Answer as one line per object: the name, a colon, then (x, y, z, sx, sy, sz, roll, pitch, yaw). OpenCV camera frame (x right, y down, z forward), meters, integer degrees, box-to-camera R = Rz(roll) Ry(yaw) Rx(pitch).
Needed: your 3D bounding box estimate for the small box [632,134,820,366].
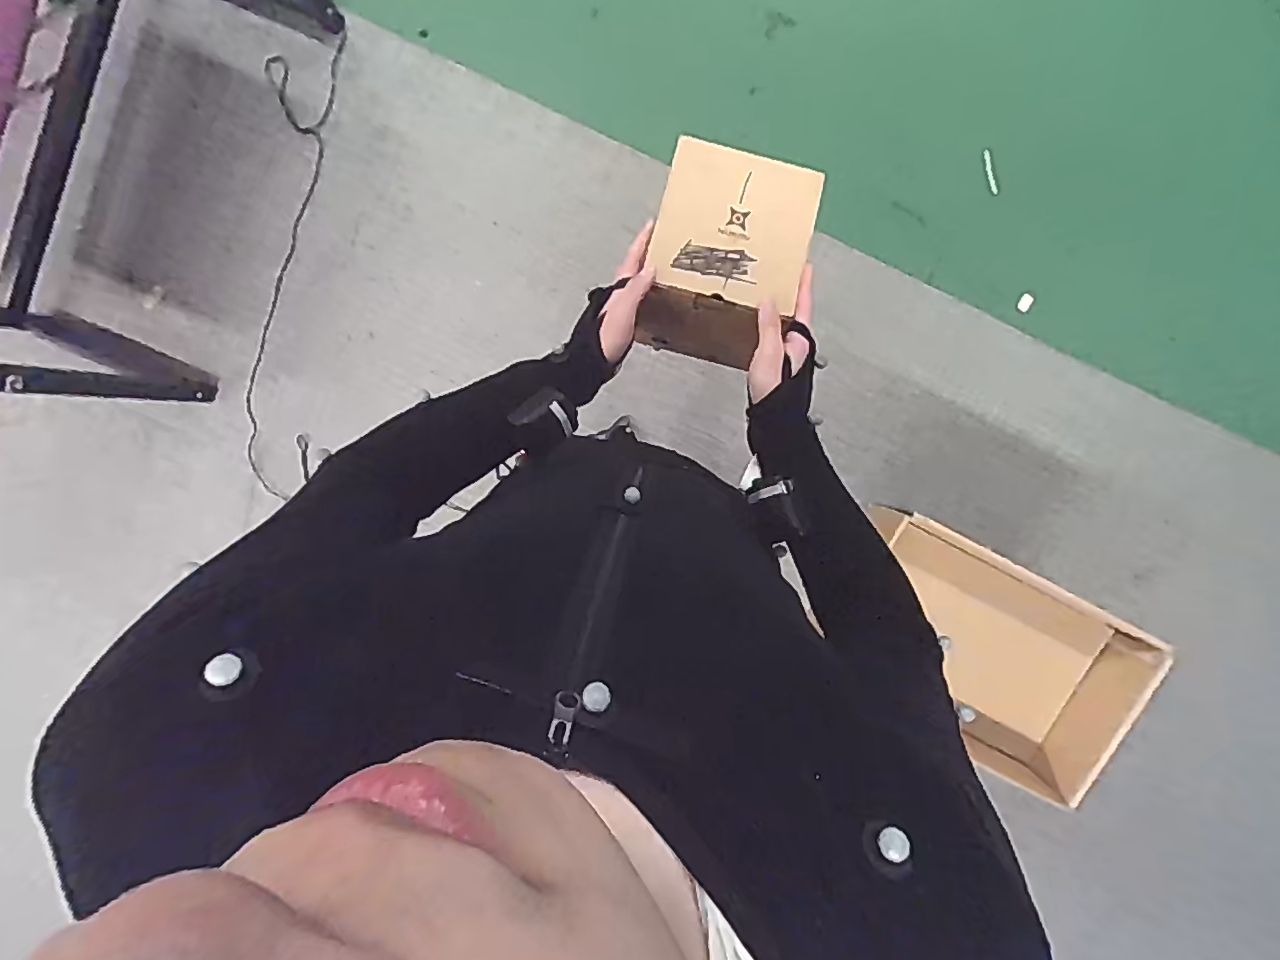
small box: (0.091, -0.256, 0.642, 0.168, 0.176, 0.179, 14, 82, 0)
